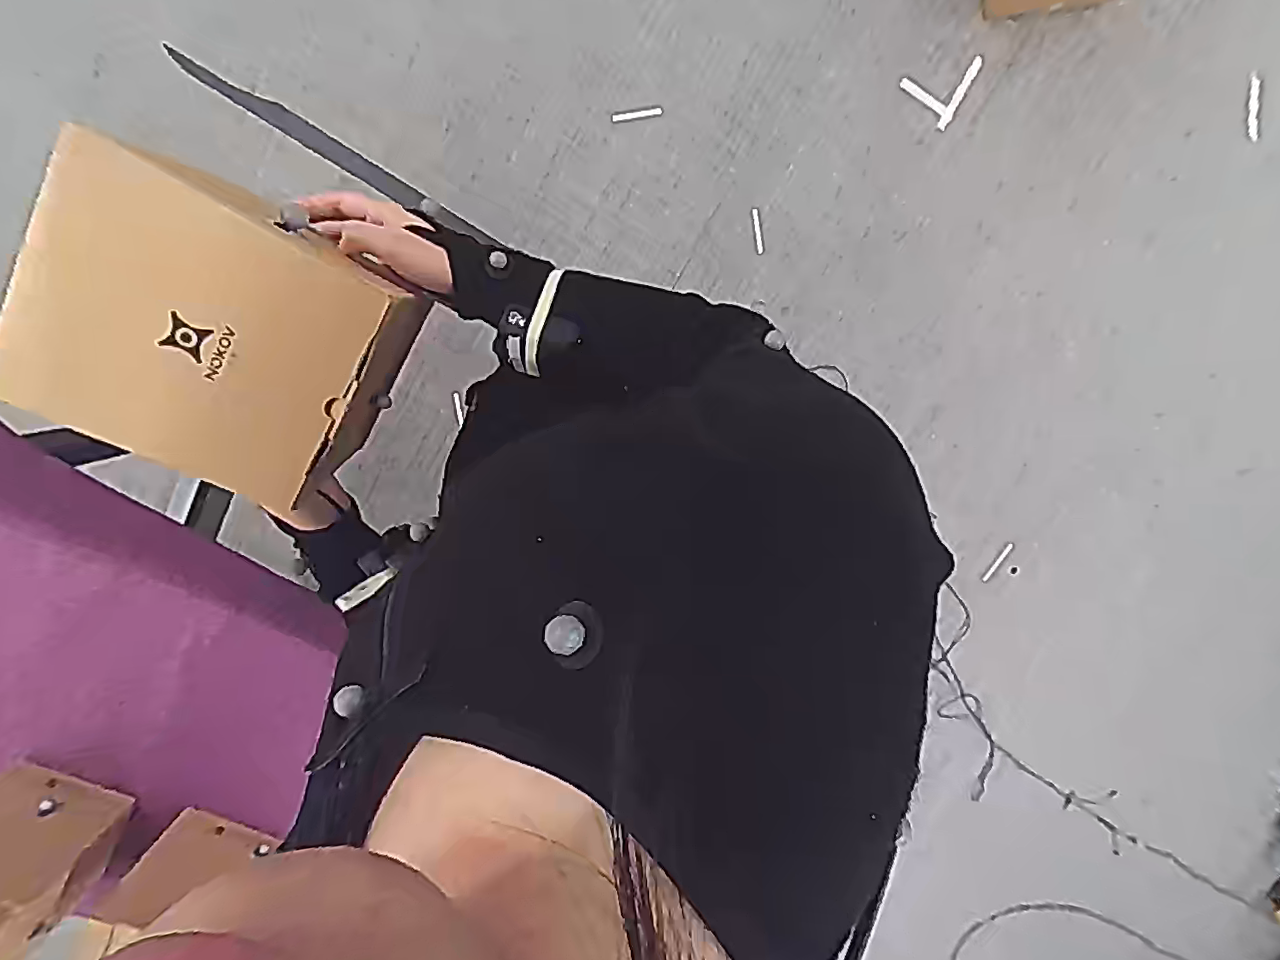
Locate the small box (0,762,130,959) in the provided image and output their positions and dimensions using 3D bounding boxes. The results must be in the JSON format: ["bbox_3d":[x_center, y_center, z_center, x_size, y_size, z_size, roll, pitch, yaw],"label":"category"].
[{"bbox_3d":[-0.857,0.530,0.729,0.168,0.176,0.179,29,99,-12],"label":"small box"}]

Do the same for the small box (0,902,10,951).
[{"bbox_3d":[-0.851,0.571,0.572,0.168,0.176,0.179,26,99,-12],"label":"small box"}]

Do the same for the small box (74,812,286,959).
[{"bbox_3d":[-0.648,0.622,0.770,0.168,0.176,0.179,29,100,-11],"label":"small box"}]

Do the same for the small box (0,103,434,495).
[{"bbox_3d":[-0.276,-0.119,0.398,0.179,0.176,0.168,28,101,-21],"label":"small box"}]
